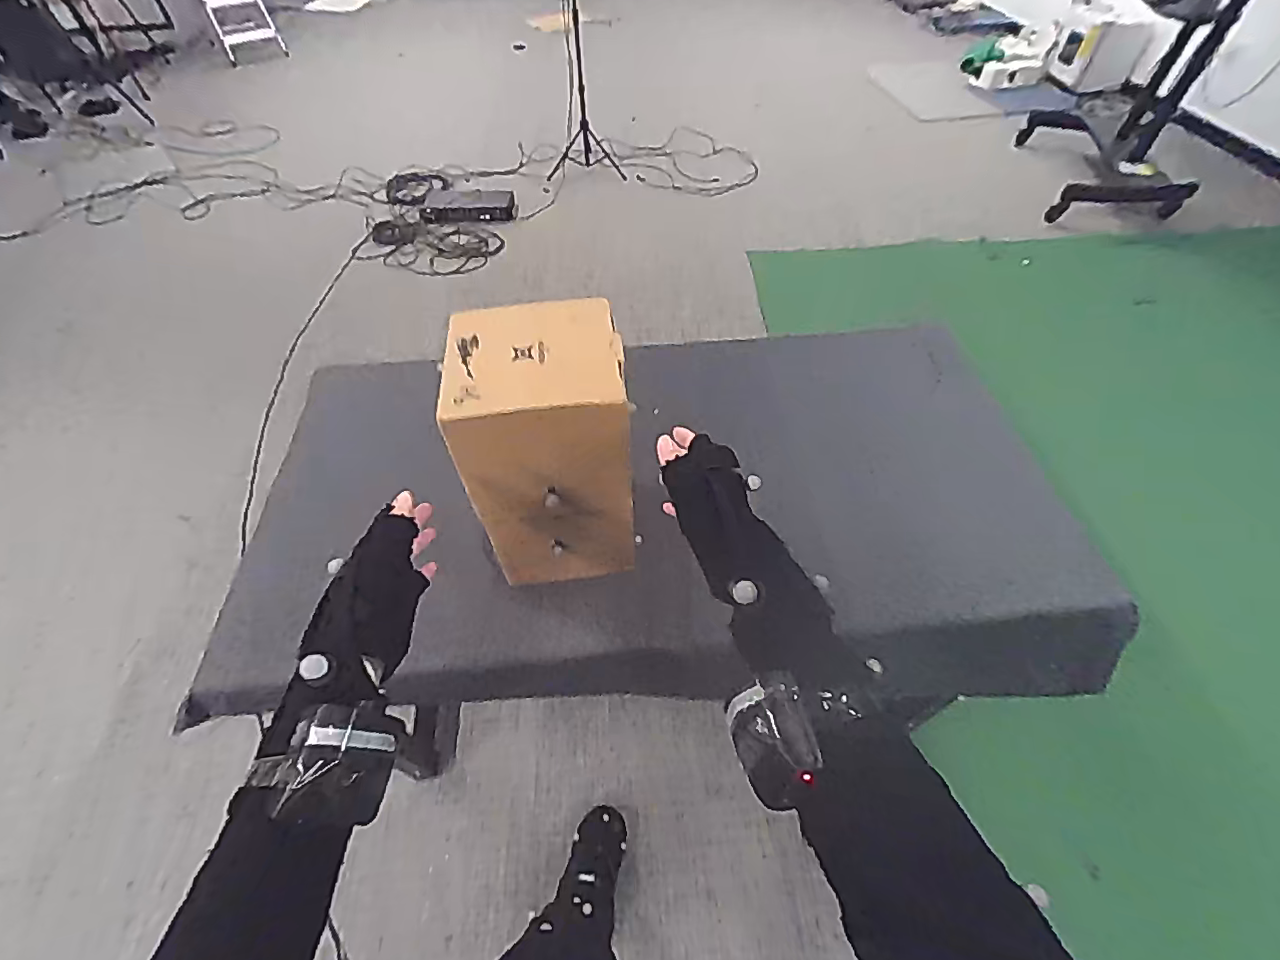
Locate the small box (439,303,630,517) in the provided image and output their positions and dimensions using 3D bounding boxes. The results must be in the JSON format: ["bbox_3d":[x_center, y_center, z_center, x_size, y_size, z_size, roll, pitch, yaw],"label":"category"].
[{"bbox_3d":[-0.106,-0.075,0.606,0.179,0.176,0.168,-5,51,-4],"label":"small box"}]

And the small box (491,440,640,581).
[{"bbox_3d":[-0.101,0.021,0.740,0.179,0.176,0.168,-8,53,-7],"label":"small box"}]
